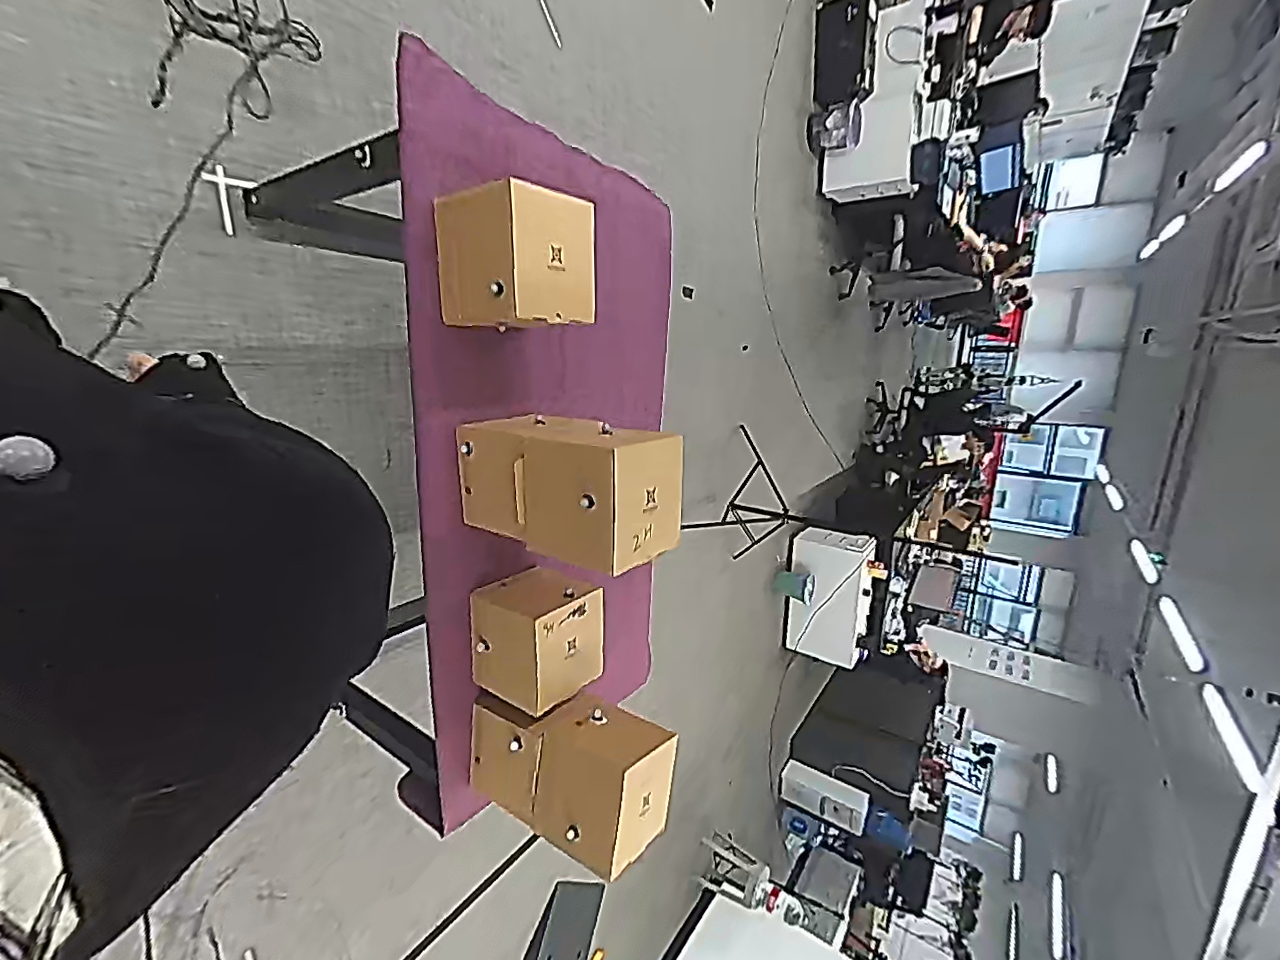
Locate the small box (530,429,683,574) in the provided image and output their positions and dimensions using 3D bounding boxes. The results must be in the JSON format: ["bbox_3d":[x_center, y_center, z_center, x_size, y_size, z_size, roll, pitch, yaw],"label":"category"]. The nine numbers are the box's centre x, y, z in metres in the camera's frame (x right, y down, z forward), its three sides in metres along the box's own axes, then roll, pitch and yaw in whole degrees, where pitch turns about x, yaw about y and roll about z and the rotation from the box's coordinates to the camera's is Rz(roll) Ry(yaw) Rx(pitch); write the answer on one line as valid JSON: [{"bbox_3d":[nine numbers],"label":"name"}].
[{"bbox_3d":[-0.051,0.019,0.807,0.168,0.176,0.179,-16,111,-52],"label":"small box"}]

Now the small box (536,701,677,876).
[{"bbox_3d":[-0.058,0.509,0.924,0.168,0.176,0.179,3,94,-58],"label":"small box"}]

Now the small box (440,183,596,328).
[{"bbox_3d":[-0.183,-0.326,0.821,0.168,0.176,0.179,-19,114,-52],"label":"small box"}]

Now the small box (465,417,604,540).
[{"bbox_3d":[-0.177,-0.012,0.910,0.179,0.176,0.168,-20,115,-52],"label":"small box"}]
